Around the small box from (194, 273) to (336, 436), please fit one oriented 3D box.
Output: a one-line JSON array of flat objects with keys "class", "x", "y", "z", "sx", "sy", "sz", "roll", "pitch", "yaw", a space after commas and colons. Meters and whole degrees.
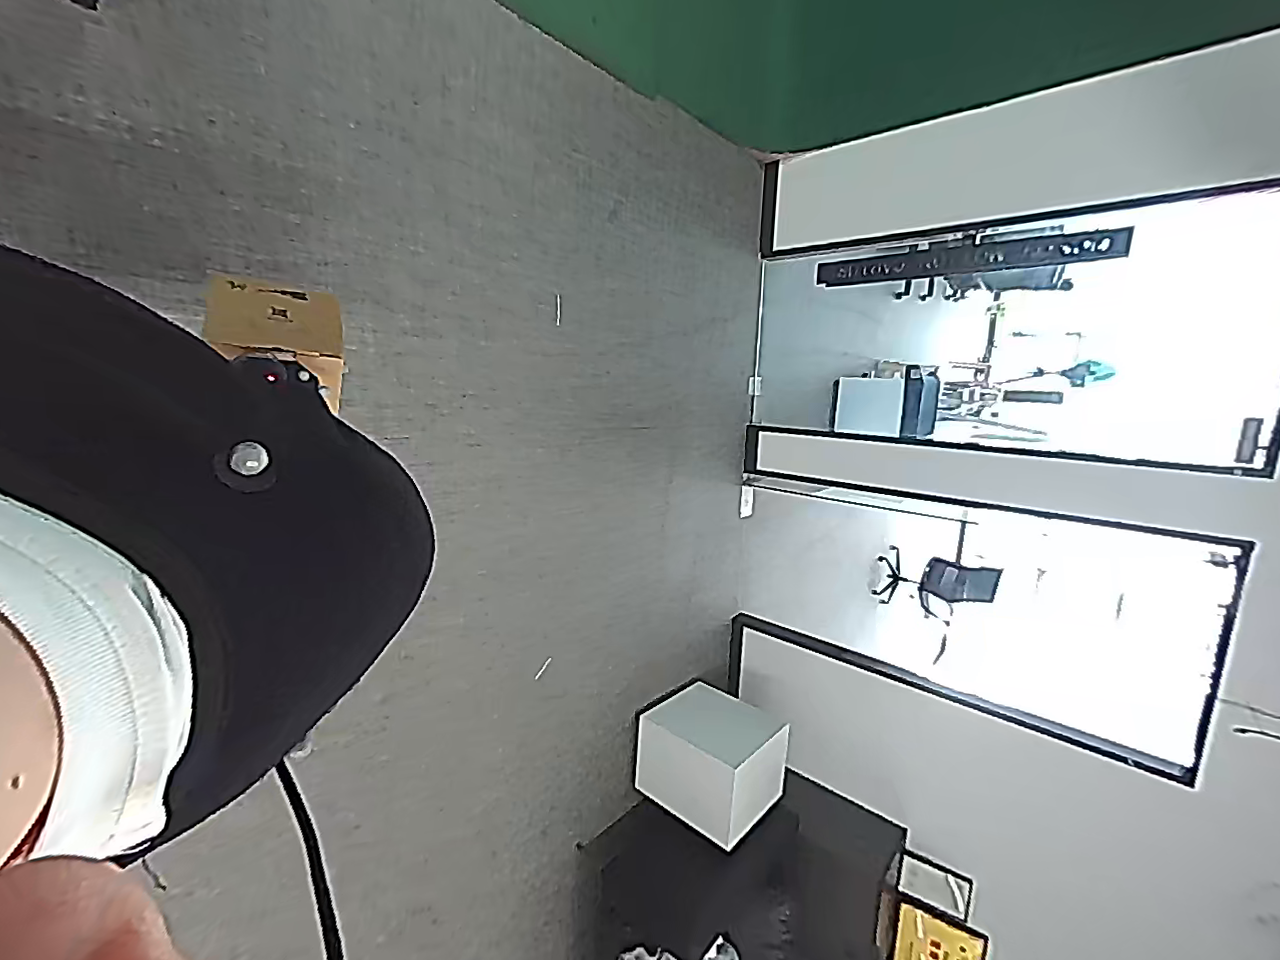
[{"class": "small box", "x": -0.576, "y": -0.186, "z": 0.840, "sx": 0.168, "sy": 0.179, "sz": 0.176, "roll": 1, "pitch": 136, "yaw": -35}]
